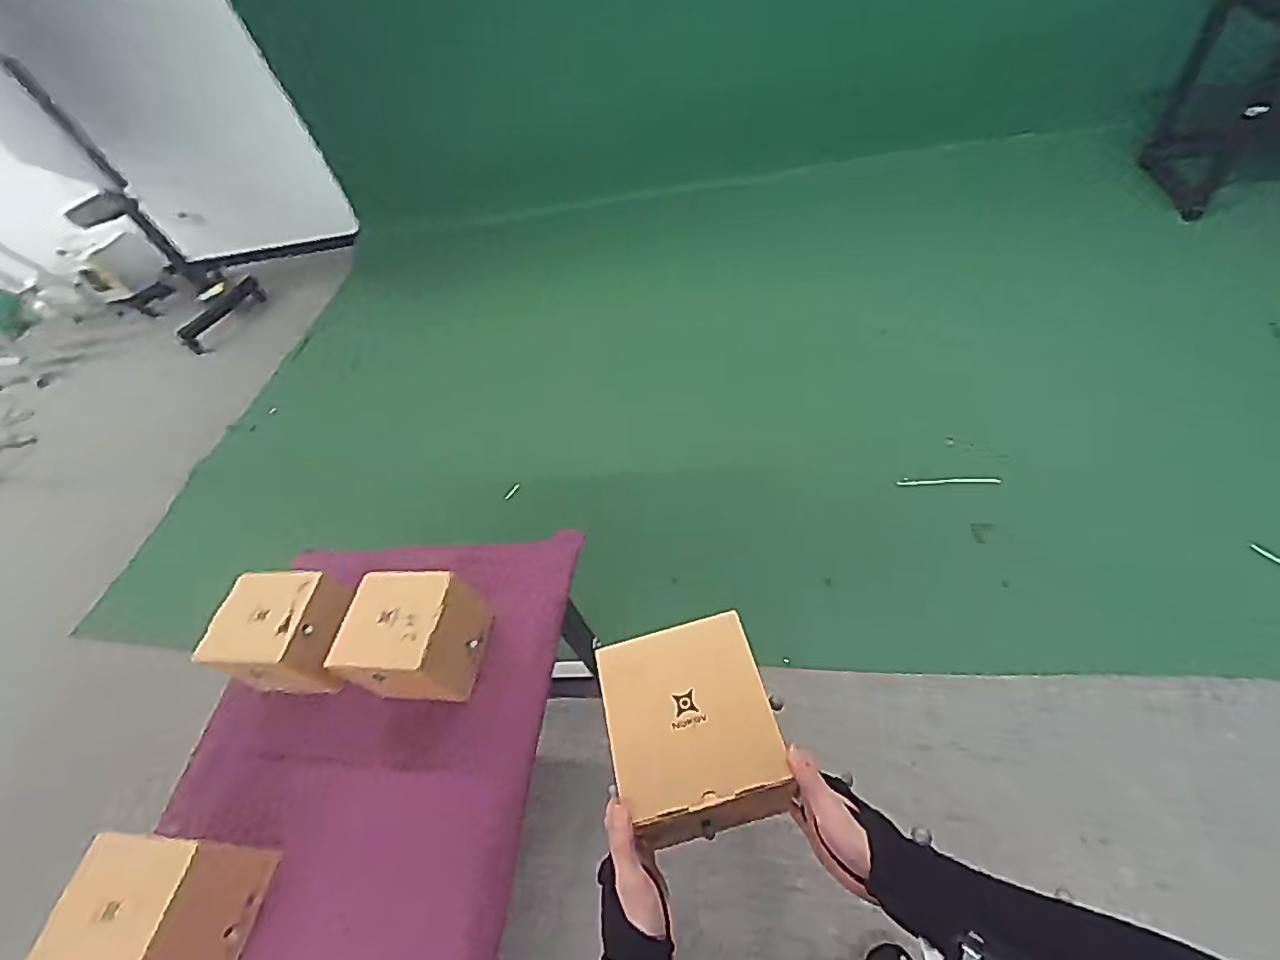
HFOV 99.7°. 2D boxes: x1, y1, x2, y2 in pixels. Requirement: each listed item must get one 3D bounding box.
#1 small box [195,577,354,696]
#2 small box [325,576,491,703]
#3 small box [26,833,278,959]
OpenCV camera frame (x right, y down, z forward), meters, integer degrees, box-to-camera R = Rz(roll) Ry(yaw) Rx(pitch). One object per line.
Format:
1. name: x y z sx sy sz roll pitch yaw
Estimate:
1. small box: -0.646 0.292 1.003 0.179 0.176 0.168 -3 52 12
2. small box: -0.391 0.280 0.943 0.179 0.176 0.168 -3 52 14
3. small box: -0.669 0.609 0.756 0.179 0.176 0.168 -2 52 12
